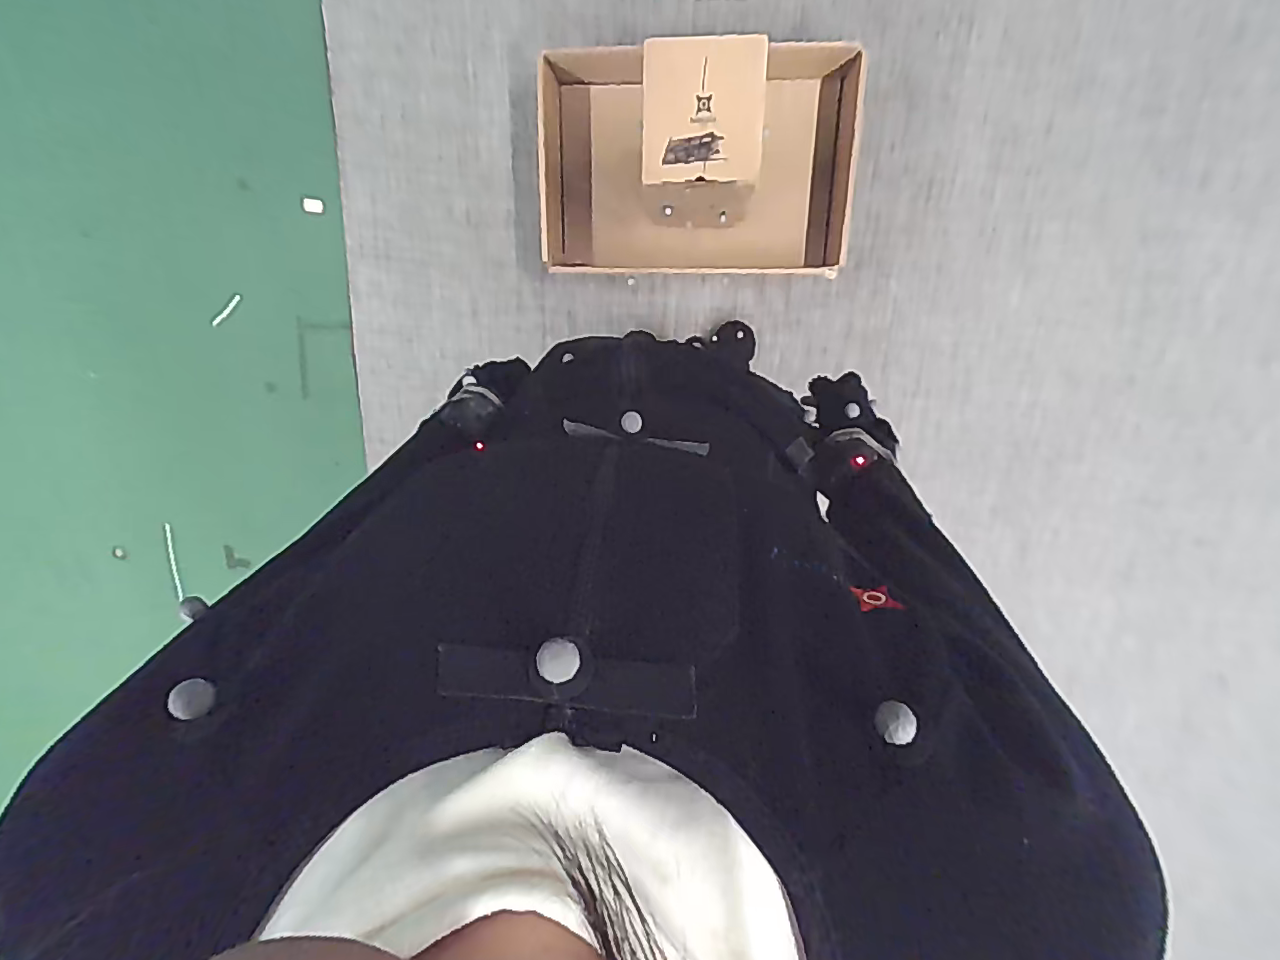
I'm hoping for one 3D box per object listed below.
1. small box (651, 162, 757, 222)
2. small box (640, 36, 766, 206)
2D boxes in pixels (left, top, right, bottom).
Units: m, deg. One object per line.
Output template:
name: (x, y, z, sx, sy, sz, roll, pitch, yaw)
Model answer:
small box: (0.109, -0.562, 0.954, 0.179, 0.176, 0.168, -1, 106, 6)
small box: (0.091, -0.521, 0.812, 0.168, 0.176, 0.179, 2, 105, 5)
